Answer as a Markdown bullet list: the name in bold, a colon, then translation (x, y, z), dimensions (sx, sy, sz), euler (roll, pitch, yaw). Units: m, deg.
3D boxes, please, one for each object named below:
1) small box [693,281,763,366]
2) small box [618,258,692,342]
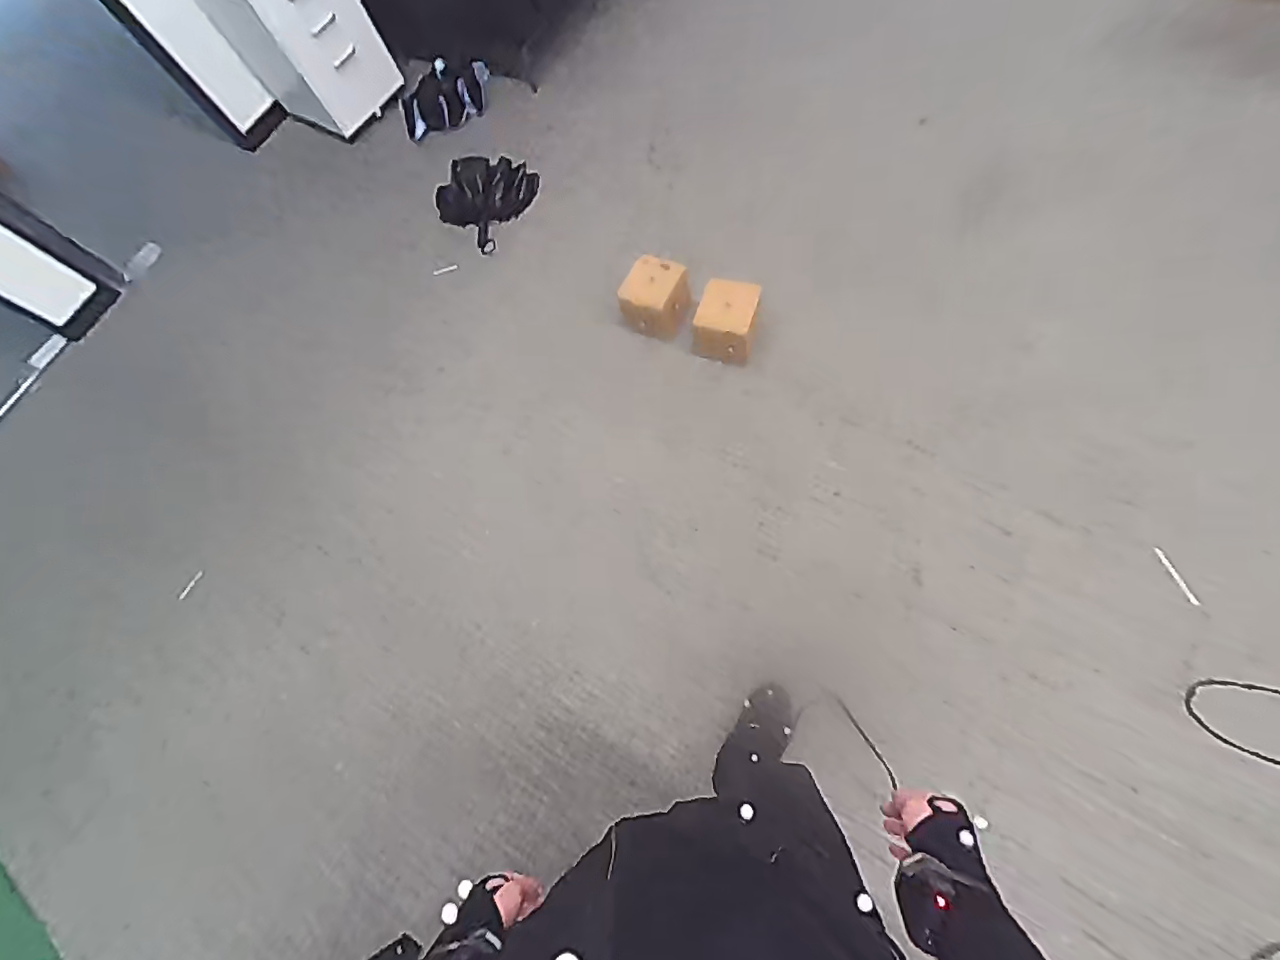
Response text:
- **small box**: translation (0.274, -0.474, 1.656), dimensions (0.168, 0.176, 0.179), euler (15, 70, 16)
- **small box**: translation (0.056, -0.577, 1.745), dimensions (0.168, 0.176, 0.179), euler (23, 75, 20)
